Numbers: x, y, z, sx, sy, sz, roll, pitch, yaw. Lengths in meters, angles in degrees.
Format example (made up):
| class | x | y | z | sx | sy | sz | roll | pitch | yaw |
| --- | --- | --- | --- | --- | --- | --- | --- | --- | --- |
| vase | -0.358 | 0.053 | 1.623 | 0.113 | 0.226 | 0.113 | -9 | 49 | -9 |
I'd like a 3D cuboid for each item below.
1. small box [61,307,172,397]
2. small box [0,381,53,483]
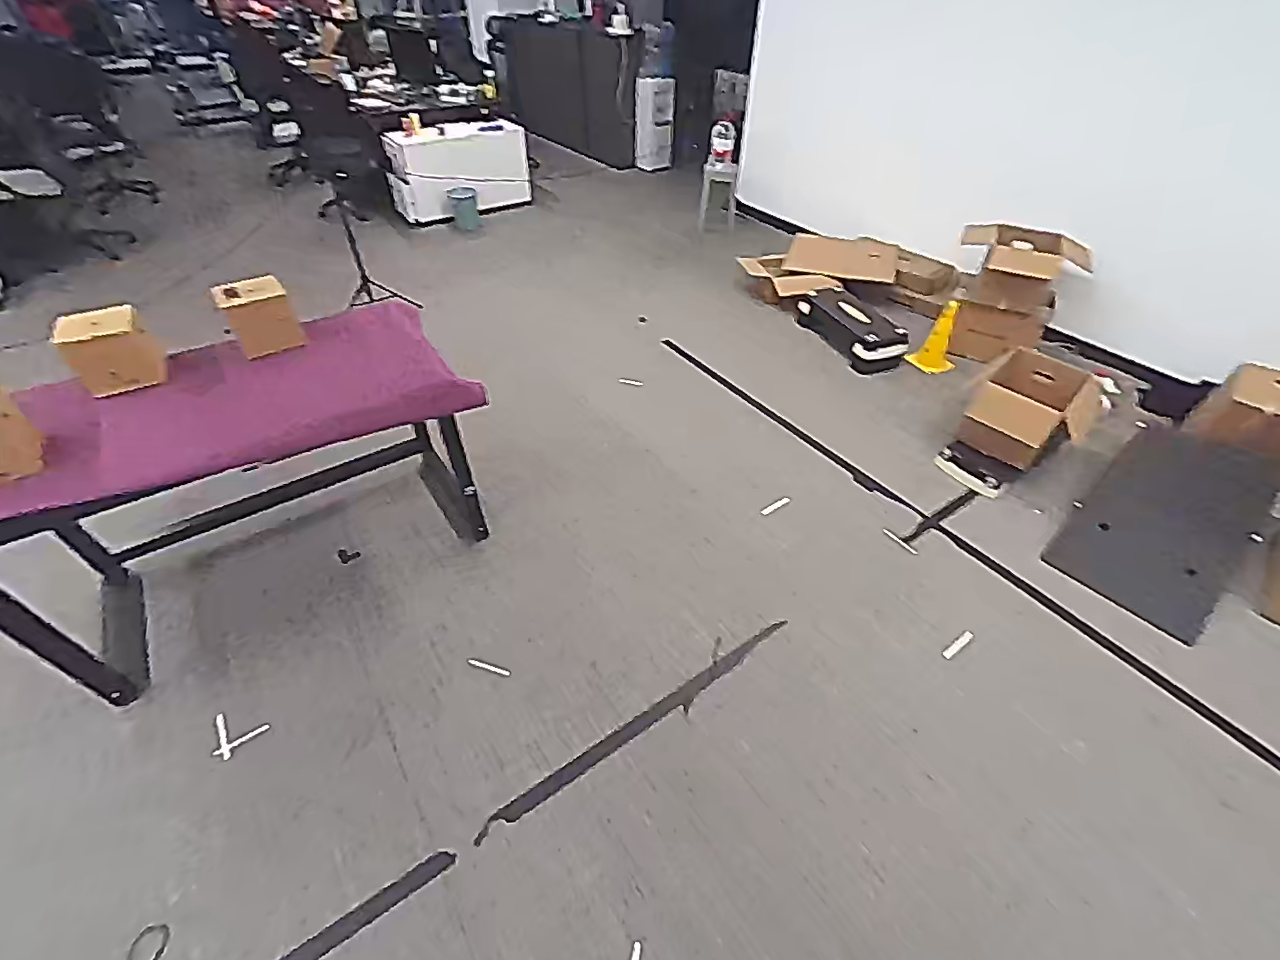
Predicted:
| class | x | y | z | sx | sy | sz | roll | pitch | yaw |
| --- | --- | --- | --- | --- | --- | --- | --- | --- | --- |
| small box | -1.464 | -0.362 | 1.526 | 0.168 | 0.176 | 0.179 | -23 | 49 | -24 |
| small box | -1.522 | -0.096 | 1.249 | 0.168 | 0.176 | 0.179 | -26 | 49 | -26 |
